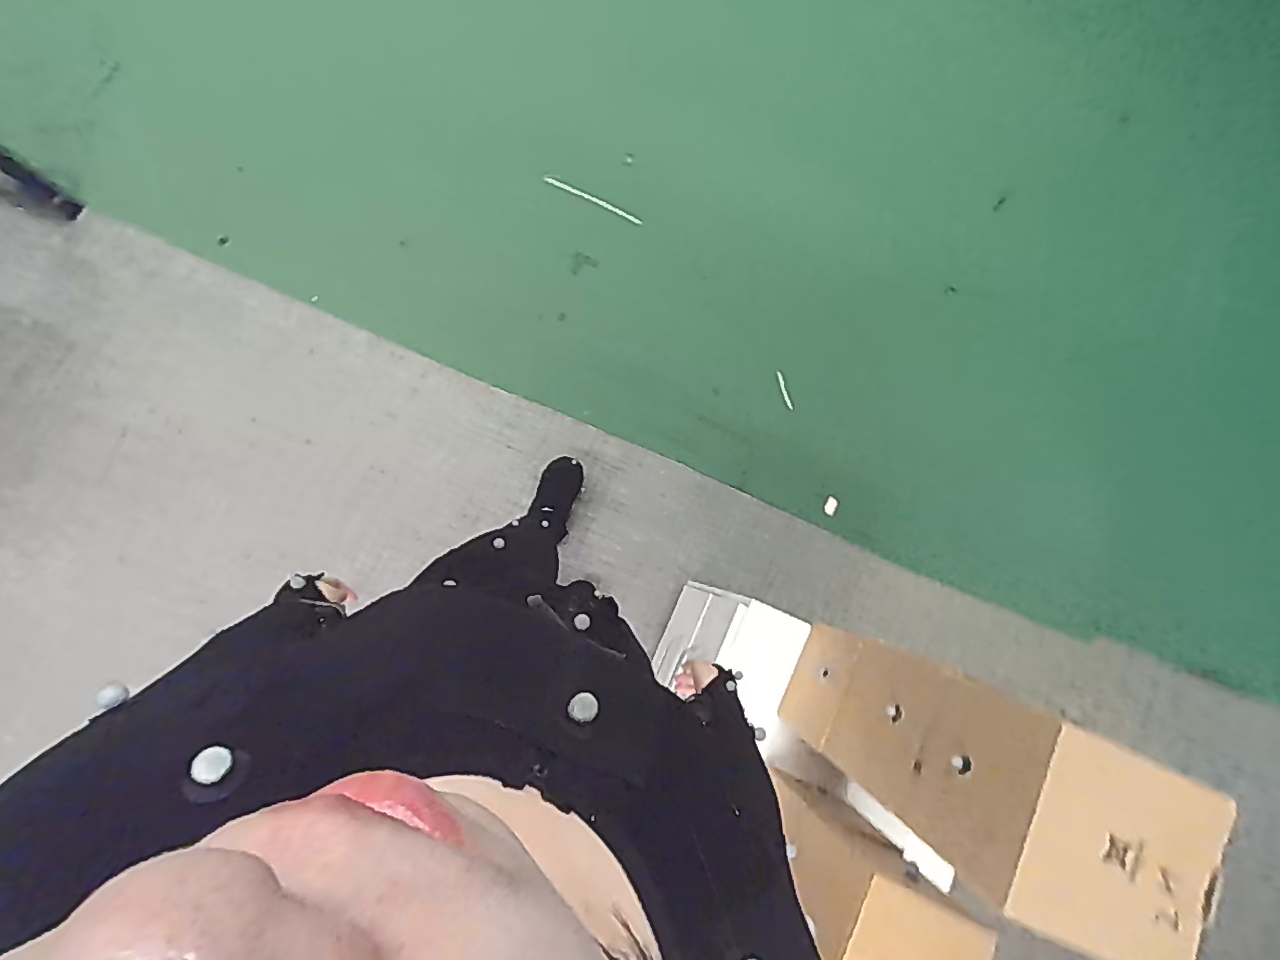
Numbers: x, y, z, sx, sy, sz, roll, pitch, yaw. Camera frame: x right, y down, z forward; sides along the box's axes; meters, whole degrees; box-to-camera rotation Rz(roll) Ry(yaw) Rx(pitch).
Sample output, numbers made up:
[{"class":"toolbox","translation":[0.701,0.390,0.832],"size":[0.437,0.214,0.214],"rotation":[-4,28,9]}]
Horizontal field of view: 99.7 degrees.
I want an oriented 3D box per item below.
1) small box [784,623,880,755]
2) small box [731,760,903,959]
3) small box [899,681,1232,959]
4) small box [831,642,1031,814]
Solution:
[{"class":"small box","translation":[0.354,0.347,0.863],"size":[0.168,0.176,0.179],"rotation":[26,82,-3]},{"class":"small box","translation":[0.255,0.570,0.825],"size":[0.168,0.176,0.179],"rotation":[26,79,-4]},{"class":"small box","translation":[0.397,0.321,0.536],"size":[0.179,0.176,0.168],"rotation":[26,83,-3]},{"class":"small box","translation":[0.377,0.331,0.699],"size":[0.168,0.176,0.179],"rotation":[26,83,-3]}]
